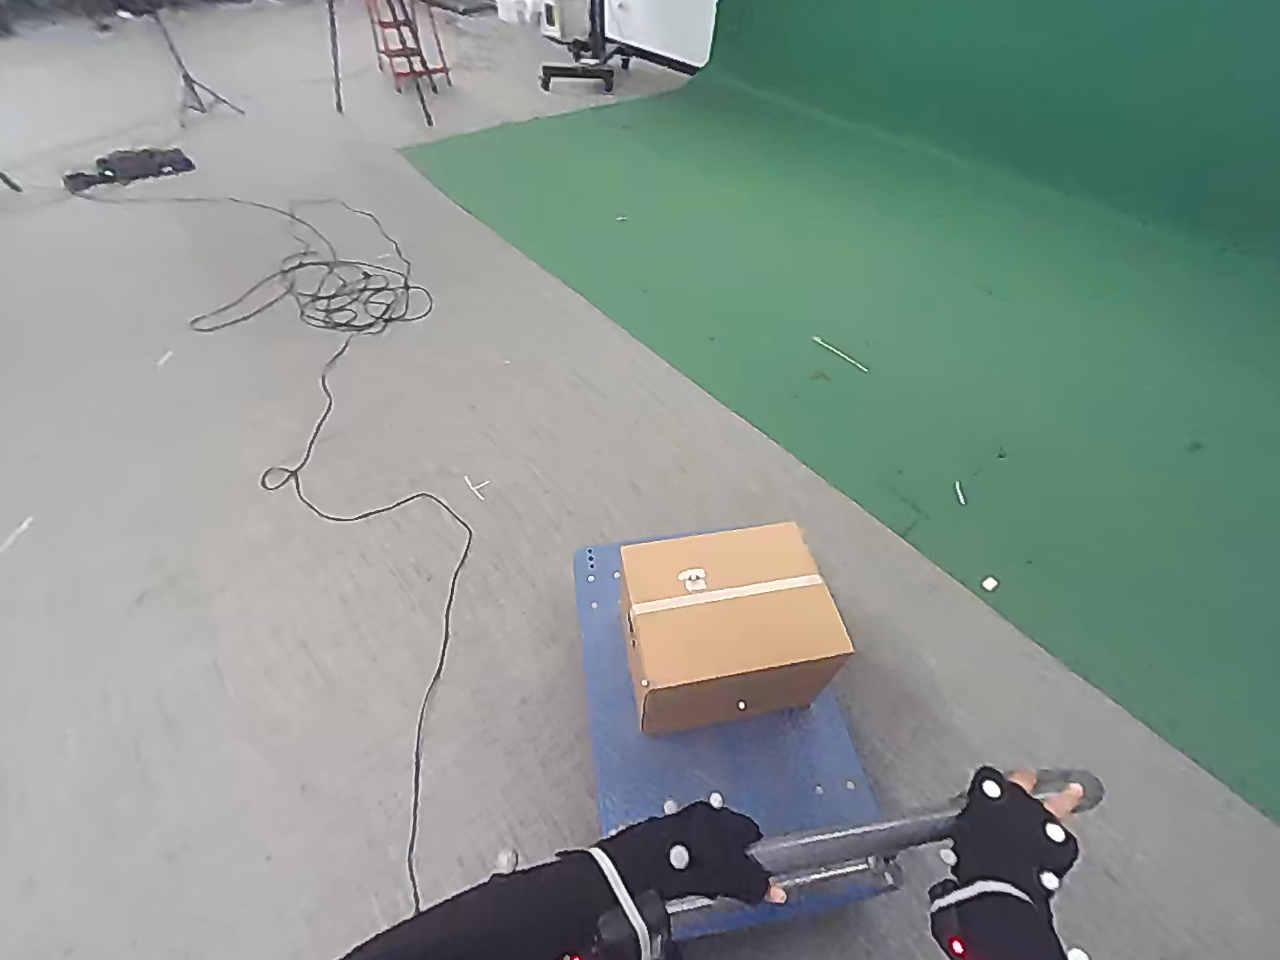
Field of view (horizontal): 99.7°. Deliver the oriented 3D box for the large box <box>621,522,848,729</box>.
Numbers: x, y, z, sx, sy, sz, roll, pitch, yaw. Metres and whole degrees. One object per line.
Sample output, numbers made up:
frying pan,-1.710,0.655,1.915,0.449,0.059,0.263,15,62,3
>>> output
large box,0.181,0.331,1.223,0.408,0.320,0.320,-8,51,-8
